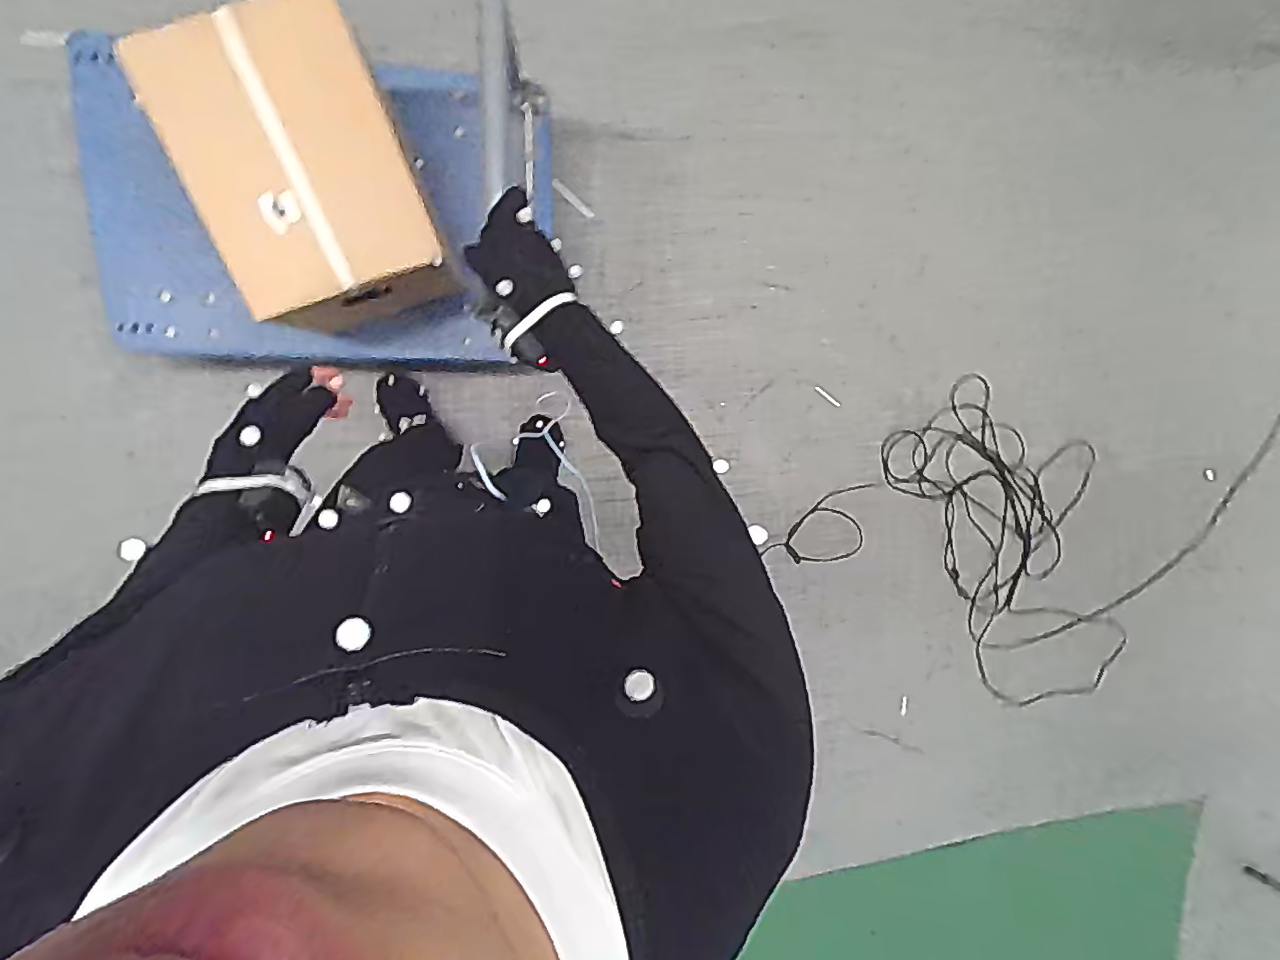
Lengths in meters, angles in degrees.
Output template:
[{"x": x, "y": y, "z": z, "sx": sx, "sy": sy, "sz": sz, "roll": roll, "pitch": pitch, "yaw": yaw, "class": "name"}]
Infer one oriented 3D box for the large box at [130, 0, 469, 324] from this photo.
[{"x": -0.544, "y": -0.533, "z": 0.969, "sx": 0.320, "sy": 0.320, "sz": 0.408, "roll": -21, "pitch": 105, "yaw": -6, "class": "large box"}]
